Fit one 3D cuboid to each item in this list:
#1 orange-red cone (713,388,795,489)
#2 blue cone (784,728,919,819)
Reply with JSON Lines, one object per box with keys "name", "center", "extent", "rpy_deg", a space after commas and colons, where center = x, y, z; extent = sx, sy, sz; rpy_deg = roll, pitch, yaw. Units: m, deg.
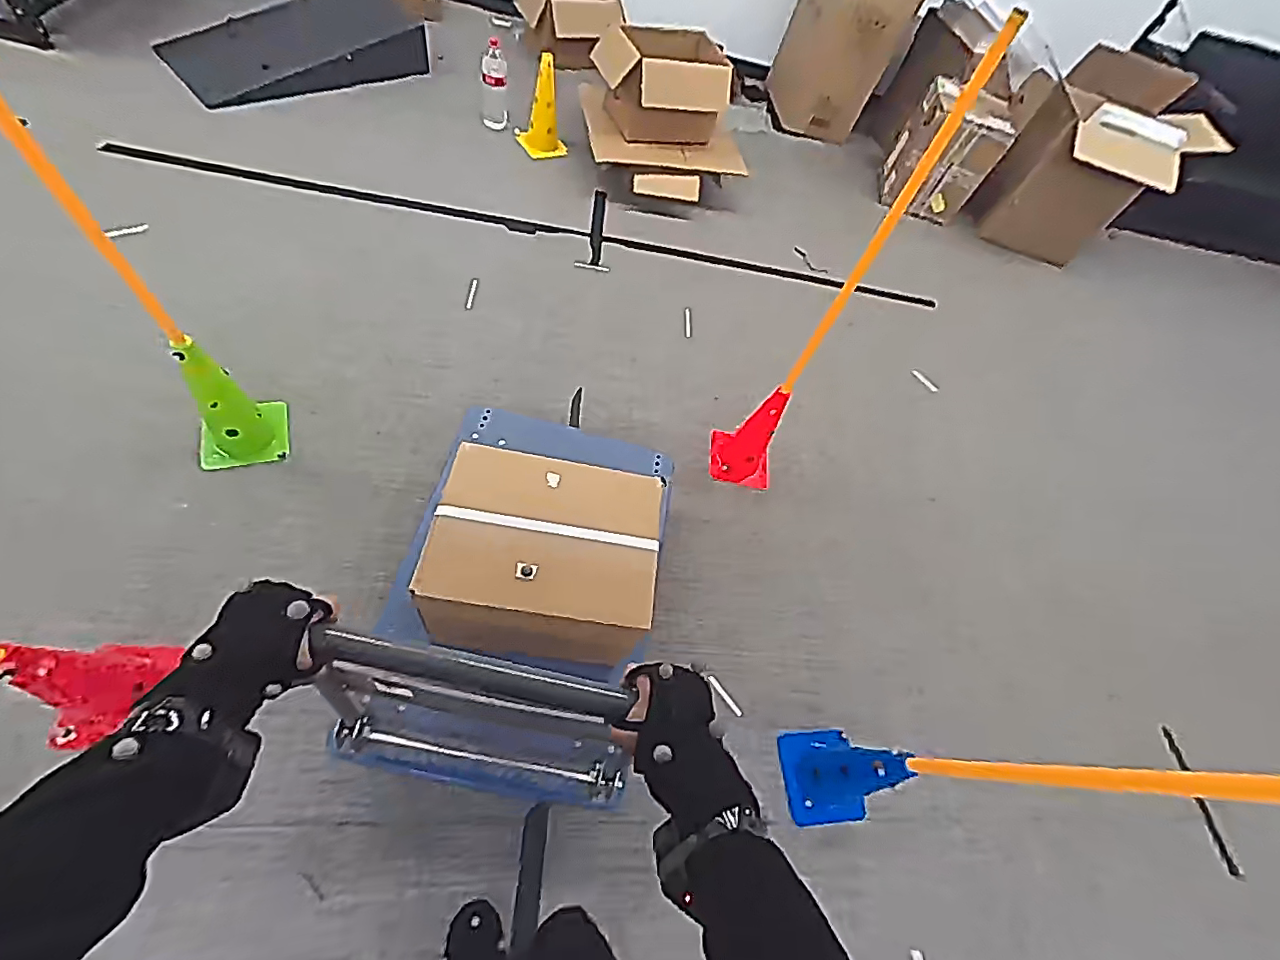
{"name": "orange-red cone", "center": [0.377, -0.153, 1.642], "extent": [0.199, 0.360, 0.198], "rpy_deg": [13, 57, -7]}
{"name": "blue cone", "center": [0.493, 0.636, 1.203], "extent": [0.193, 0.380, 0.192], "rpy_deg": [3, 57, -12]}
